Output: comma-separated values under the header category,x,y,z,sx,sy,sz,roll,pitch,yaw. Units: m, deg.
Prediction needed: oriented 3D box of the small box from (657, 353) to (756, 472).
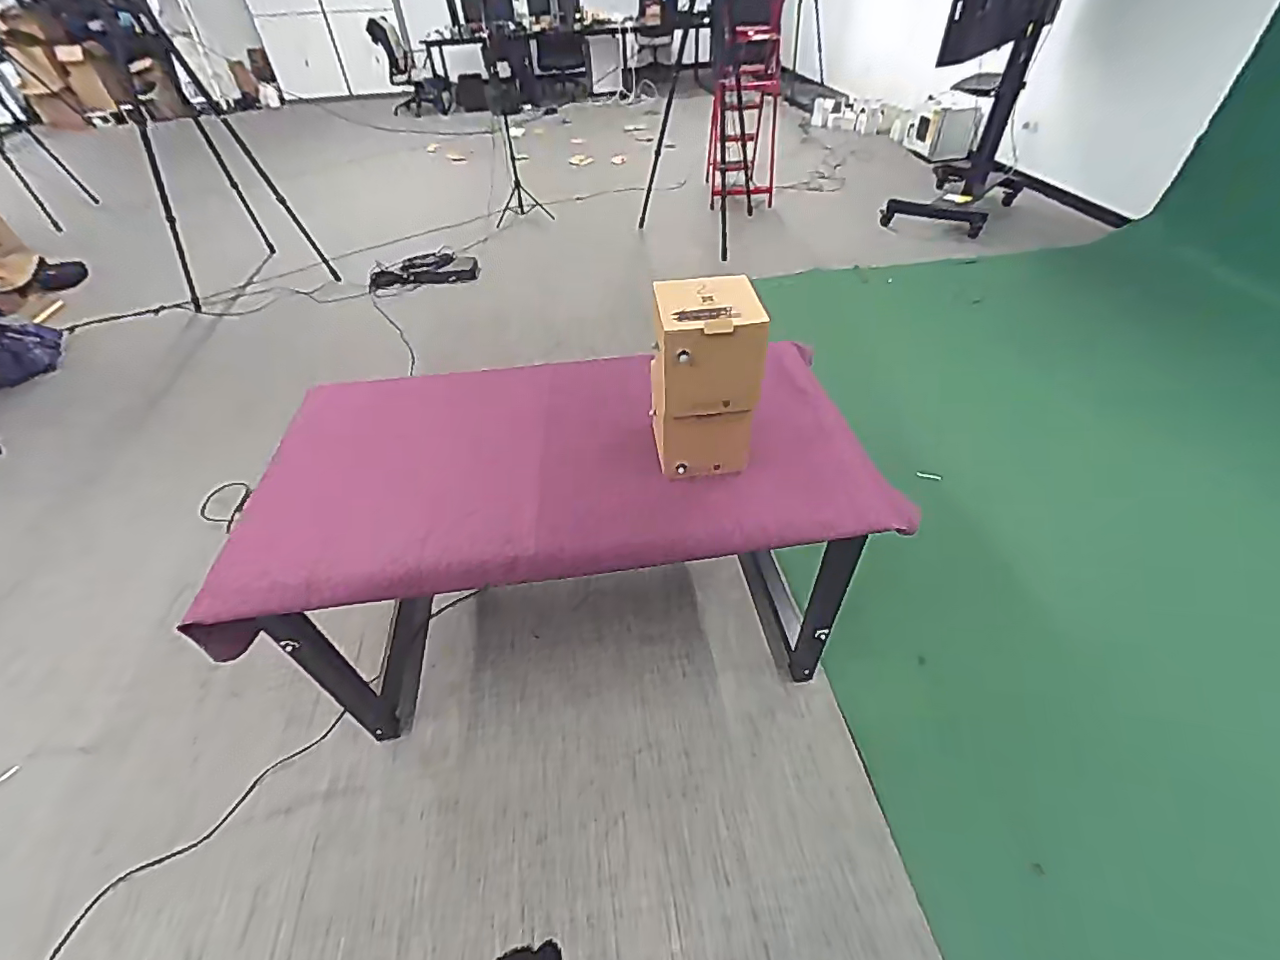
category,x,y,z,sx,sy,sz,roll,pitch,yaw
small box,0.120,-0.127,1.053,0.168,0.176,0.179,-3,45,-2
